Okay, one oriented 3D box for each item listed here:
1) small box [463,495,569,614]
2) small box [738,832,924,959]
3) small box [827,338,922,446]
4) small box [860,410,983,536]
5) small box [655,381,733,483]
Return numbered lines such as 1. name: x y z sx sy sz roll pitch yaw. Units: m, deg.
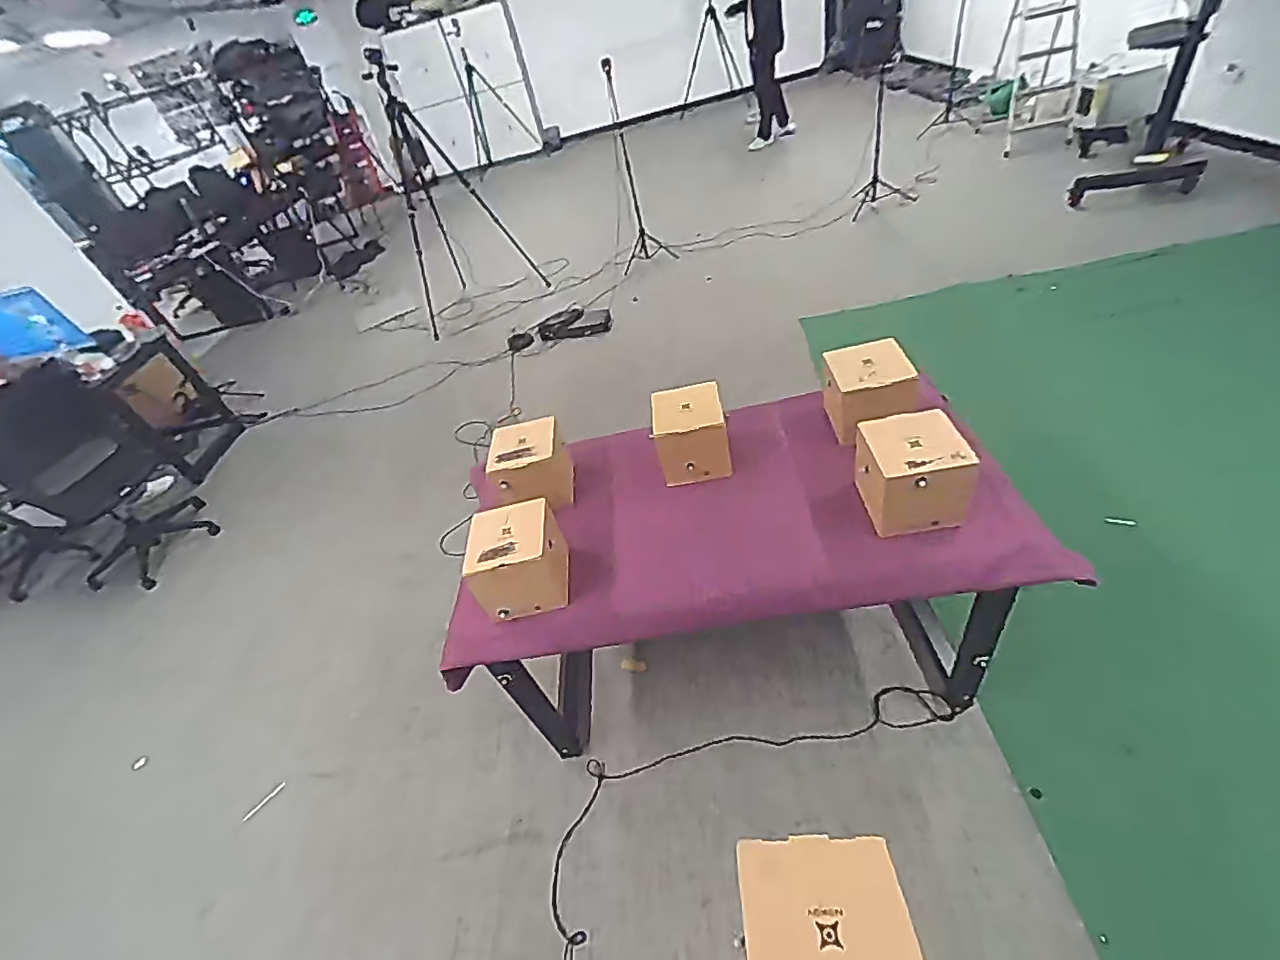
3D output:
1. small box: -0.253 0.165 1.148 0.168 0.176 0.179 -13 40 4
2. small box: 0.195 0.509 0.572 0.168 0.176 0.179 -6 30 7
3. small box: 0.549 -0.208 1.290 0.168 0.176 0.179 -11 43 10
4. small box: 0.547 -0.012 1.082 0.168 0.176 0.179 -10 40 9
5. small box: 0.132 -0.117 1.333 0.168 0.176 0.179 -9 43 7
